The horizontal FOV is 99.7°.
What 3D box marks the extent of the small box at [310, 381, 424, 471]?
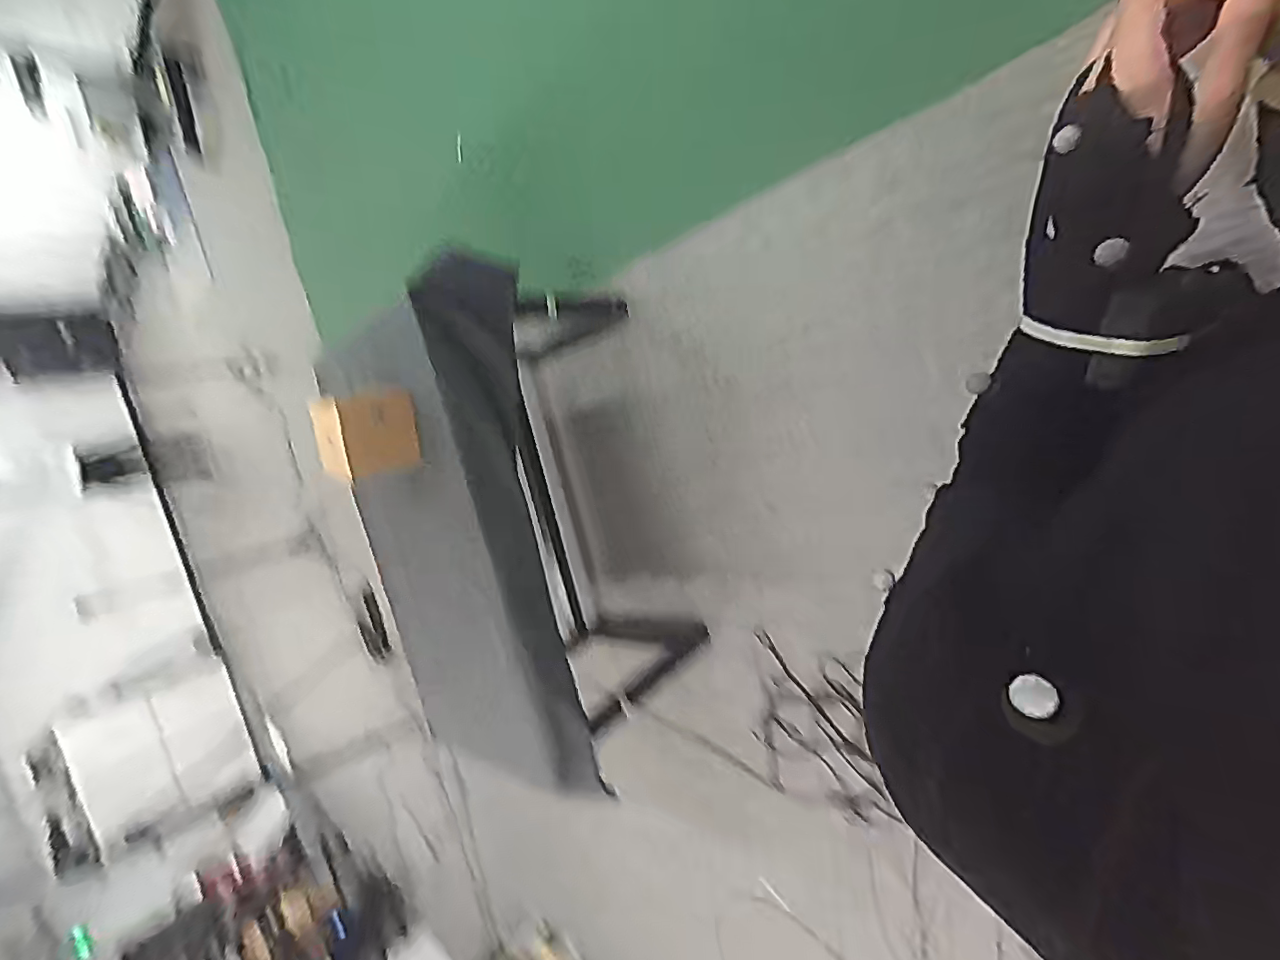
[{"bbox_3d":[-0.632,-0.135,1.263,0.168,0.176,0.179,10,112,40],"label":"small box"}]
